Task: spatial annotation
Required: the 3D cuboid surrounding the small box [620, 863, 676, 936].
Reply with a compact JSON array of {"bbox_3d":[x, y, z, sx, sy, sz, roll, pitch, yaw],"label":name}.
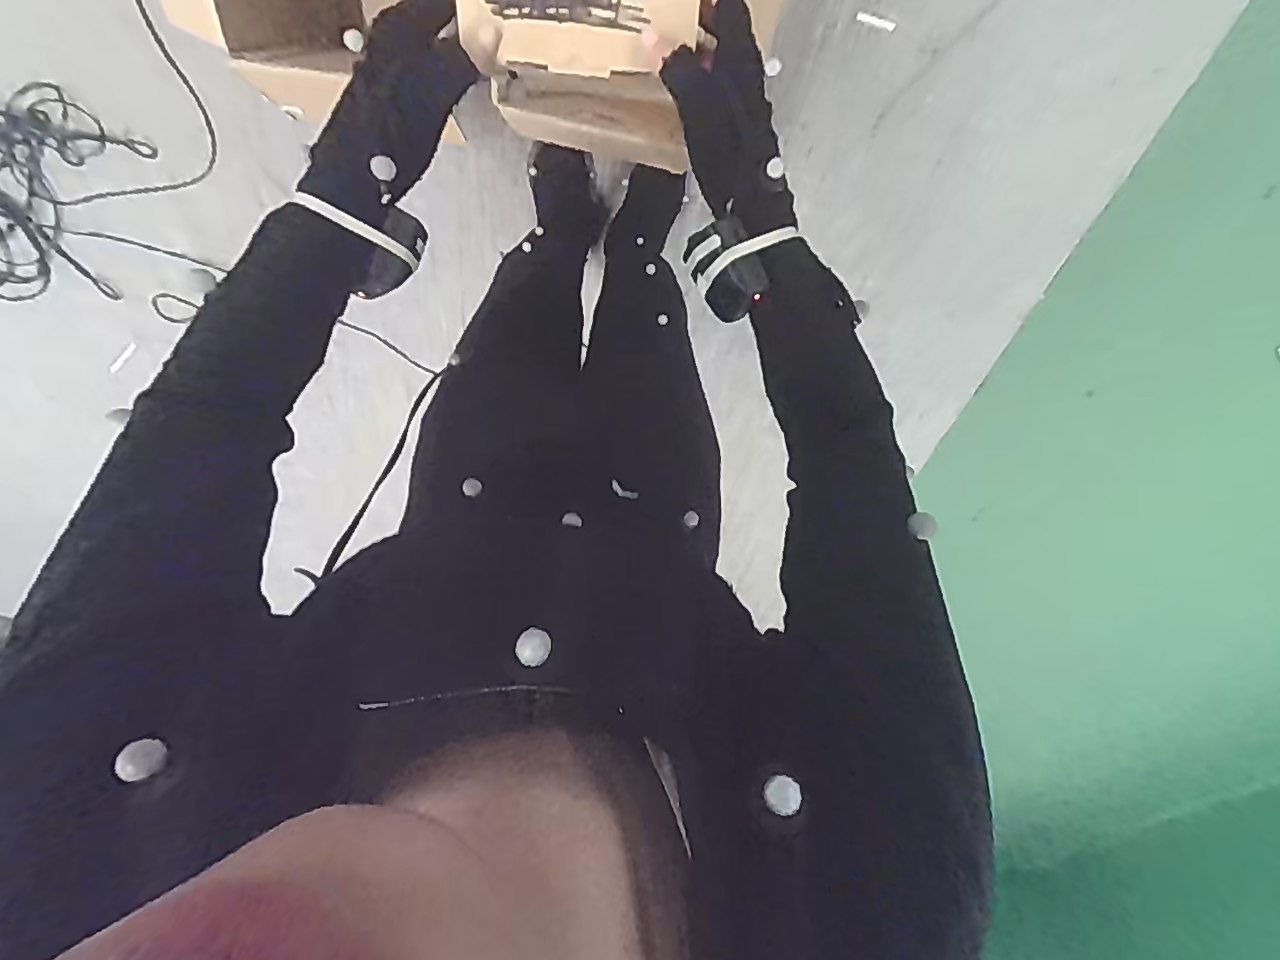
[{"bbox_3d":[0.027,1.449,1.866,0.168,0.176,0.179,8,132,-6],"label":"small box"}]
